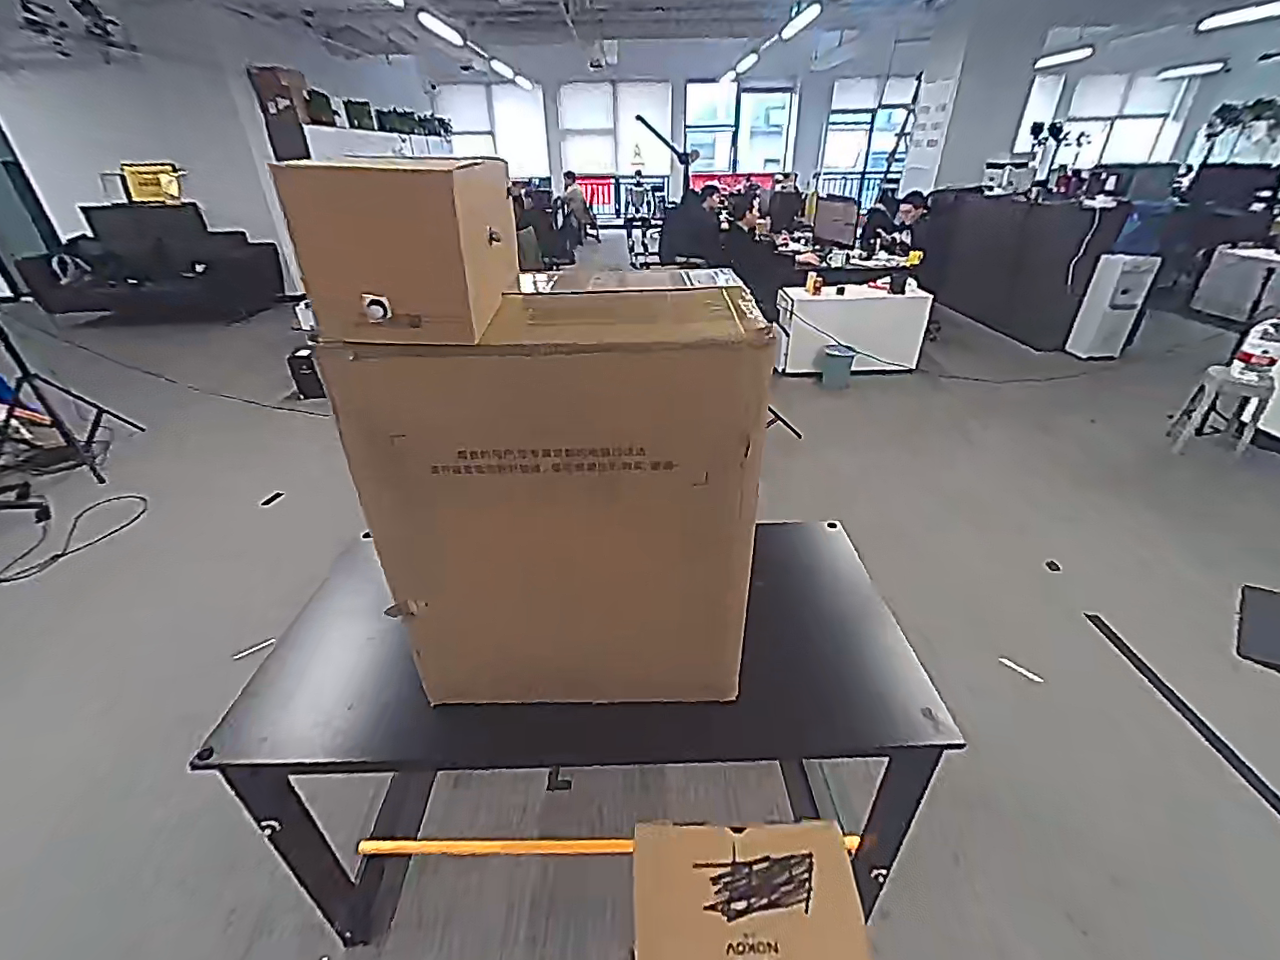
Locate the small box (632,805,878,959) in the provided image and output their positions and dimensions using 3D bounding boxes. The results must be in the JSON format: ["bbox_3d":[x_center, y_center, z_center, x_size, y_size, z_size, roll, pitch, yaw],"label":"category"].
[{"bbox_3d":[0.077,0.379,0.420,0.168,0.176,0.179,-1,41,-1],"label":"small box"}]

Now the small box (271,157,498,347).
[{"bbox_3d":[-0.260,-0.257,0.603,0.168,0.176,0.179,-1,33,-3],"label":"small box"}]

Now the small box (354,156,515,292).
[{"bbox_3d":[-0.282,-0.369,0.785,0.168,0.176,0.179,-2,29,-2],"label":"small box"}]
